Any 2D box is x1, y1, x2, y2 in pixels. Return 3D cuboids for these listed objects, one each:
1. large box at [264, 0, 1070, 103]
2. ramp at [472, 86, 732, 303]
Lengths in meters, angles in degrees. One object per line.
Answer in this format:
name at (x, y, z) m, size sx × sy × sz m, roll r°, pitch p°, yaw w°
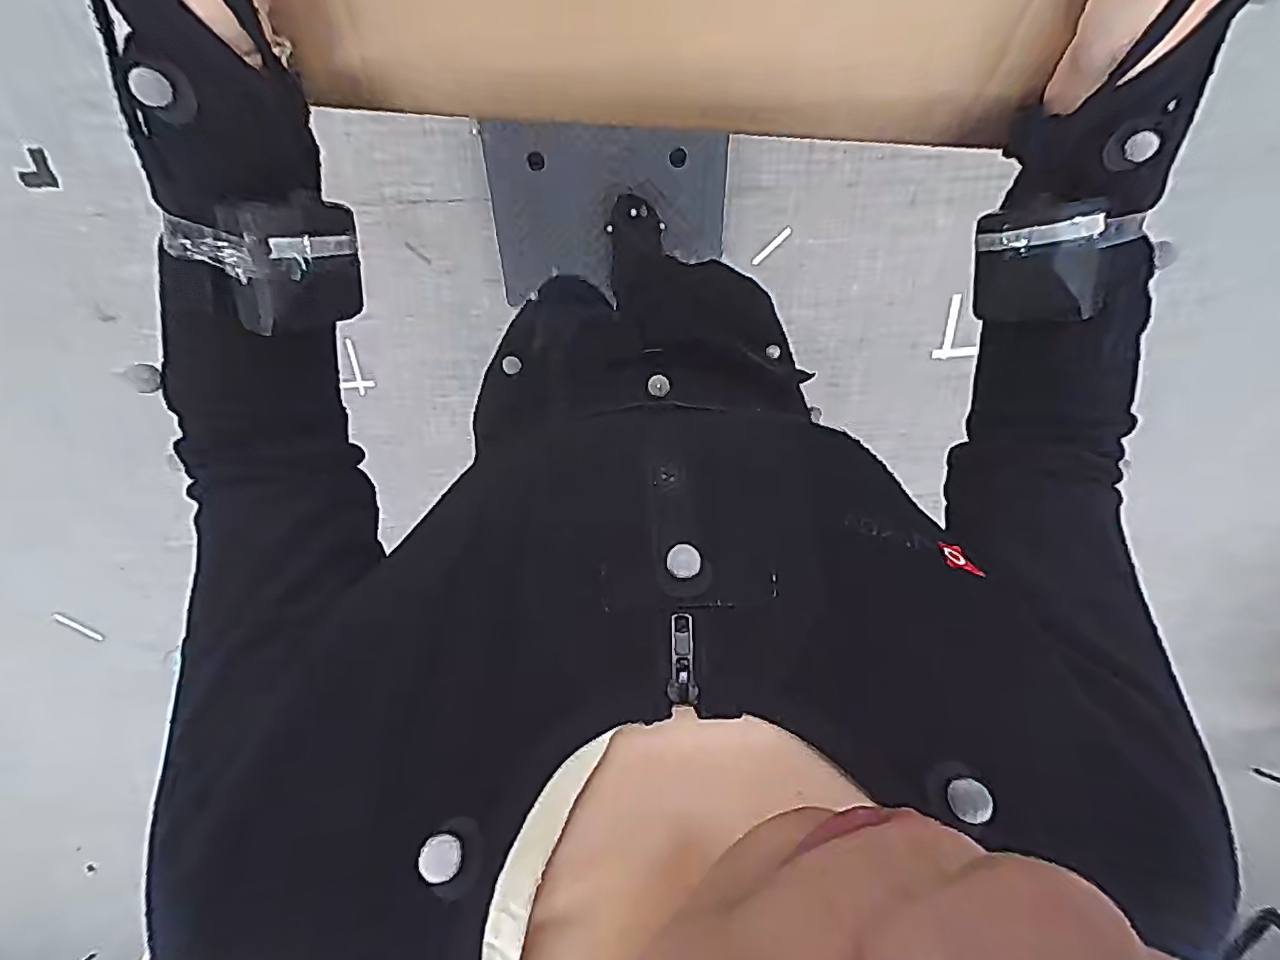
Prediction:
large box at (0.016, -0.421, 0.256) m, size 0.408 × 0.320 × 0.320 m, roll 0°, pitch 146°, yaw -5°
ramp at (-0.068, -0.814, 0.958) m, size 0.509 × 0.206 × 0.991 m, roll -5°, pitch 118°, yaw -2°
